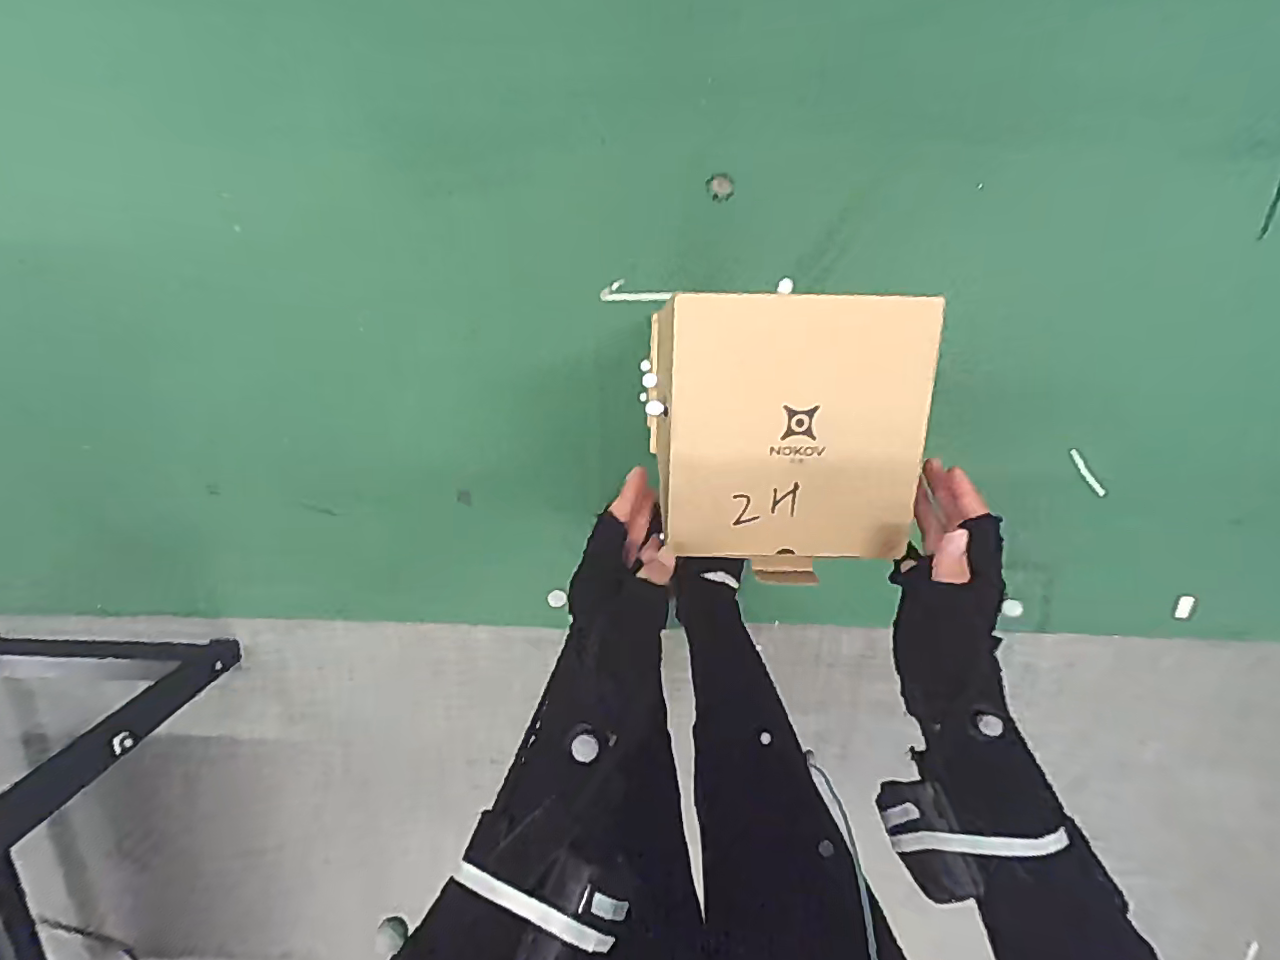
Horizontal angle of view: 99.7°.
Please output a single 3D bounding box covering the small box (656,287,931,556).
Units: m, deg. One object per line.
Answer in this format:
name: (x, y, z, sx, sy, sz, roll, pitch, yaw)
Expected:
small box: (0.098, -0.053, 0.429, 0.168, 0.176, 0.179, 1, 106, 1)
